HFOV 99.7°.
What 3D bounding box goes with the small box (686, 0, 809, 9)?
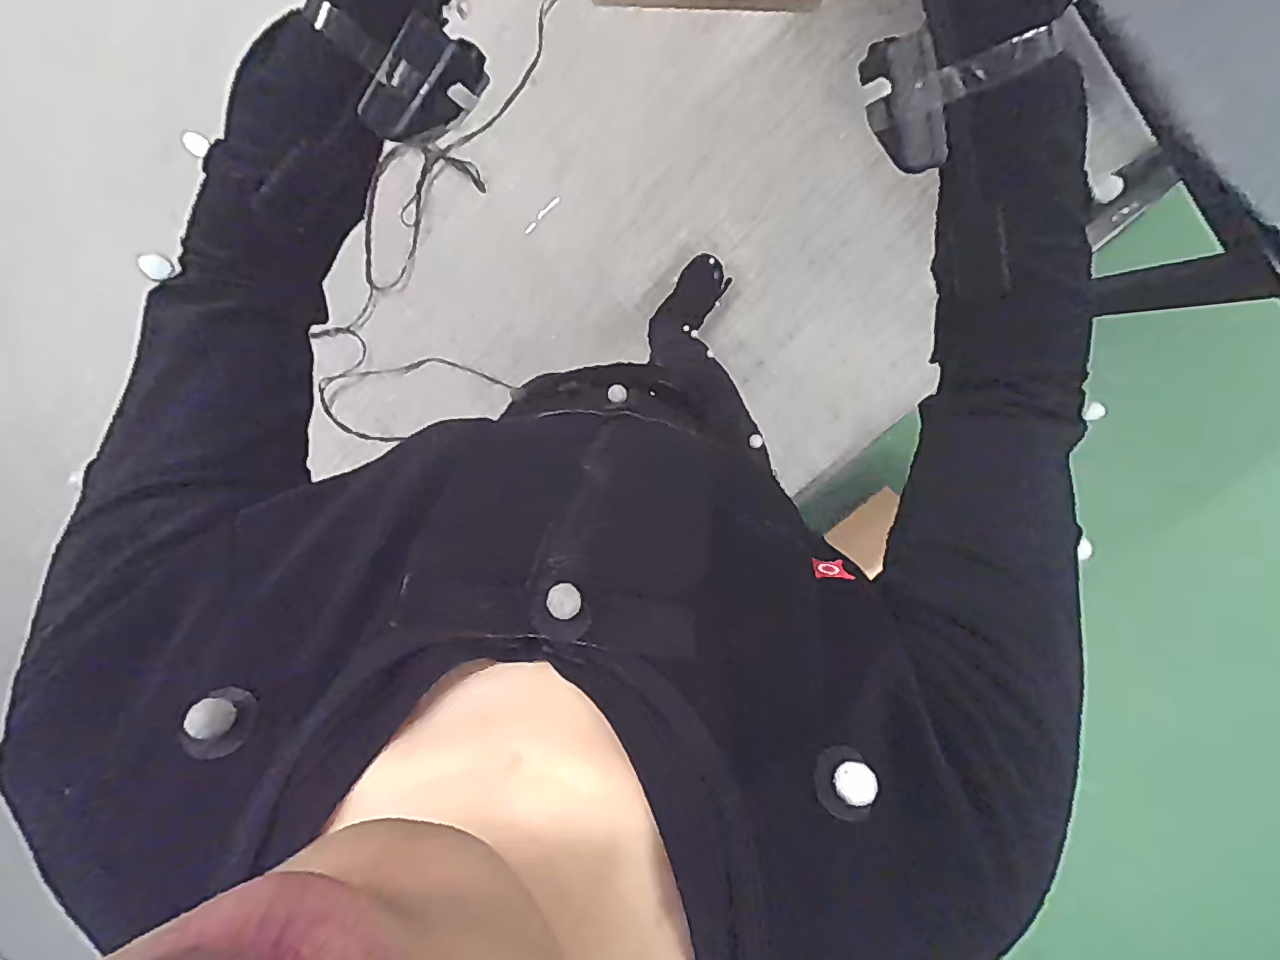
[{"bbox_3d":[0.049,-0.414,0.294,0.168,0.176,0.179,5,102,4],"label":"small box"}]
